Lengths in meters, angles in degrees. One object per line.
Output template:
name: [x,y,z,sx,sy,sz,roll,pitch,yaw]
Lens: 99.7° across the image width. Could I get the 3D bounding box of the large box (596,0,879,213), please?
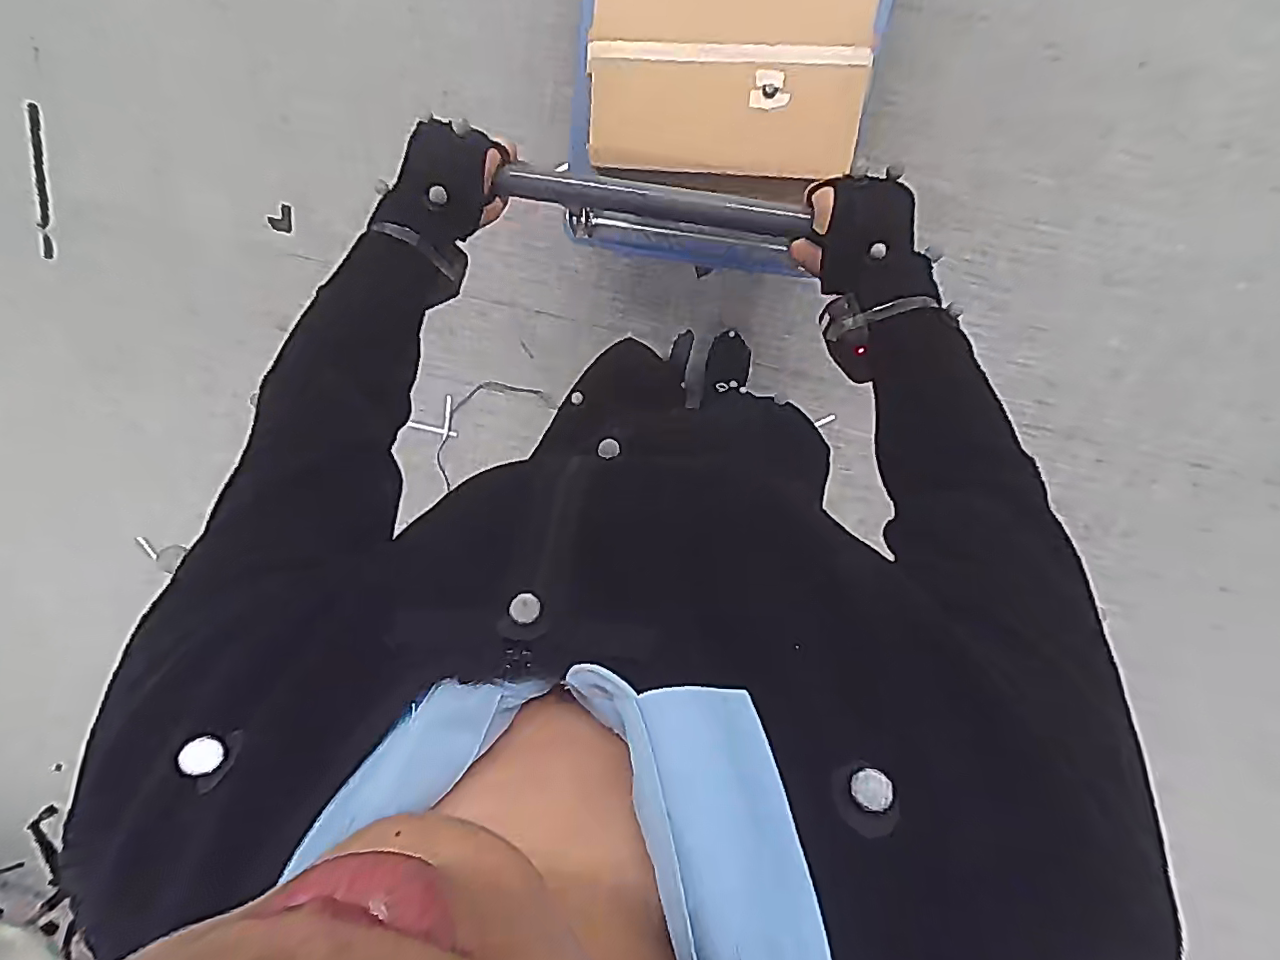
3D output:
large box: [0.150,-0.666,0.939,0.408,0.320,0.320,6,109,5]
